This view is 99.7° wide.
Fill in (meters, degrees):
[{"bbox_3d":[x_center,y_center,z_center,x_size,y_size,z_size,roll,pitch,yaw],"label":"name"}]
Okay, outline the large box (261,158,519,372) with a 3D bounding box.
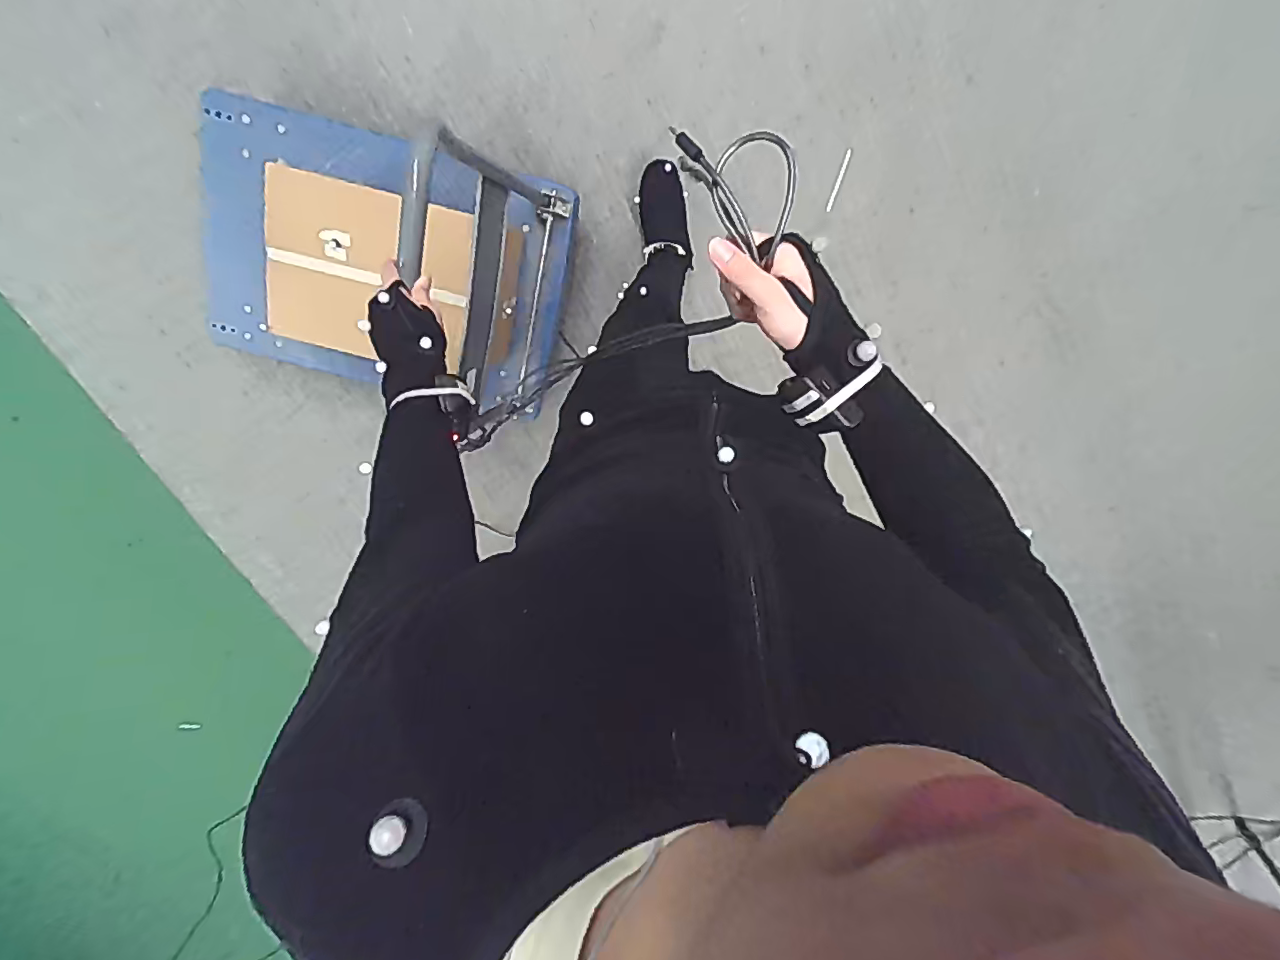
[{"bbox_3d":[-0.508,-0.451,1.164,0.408,0.320,0.320,14,111,-2],"label":"large box"}]
